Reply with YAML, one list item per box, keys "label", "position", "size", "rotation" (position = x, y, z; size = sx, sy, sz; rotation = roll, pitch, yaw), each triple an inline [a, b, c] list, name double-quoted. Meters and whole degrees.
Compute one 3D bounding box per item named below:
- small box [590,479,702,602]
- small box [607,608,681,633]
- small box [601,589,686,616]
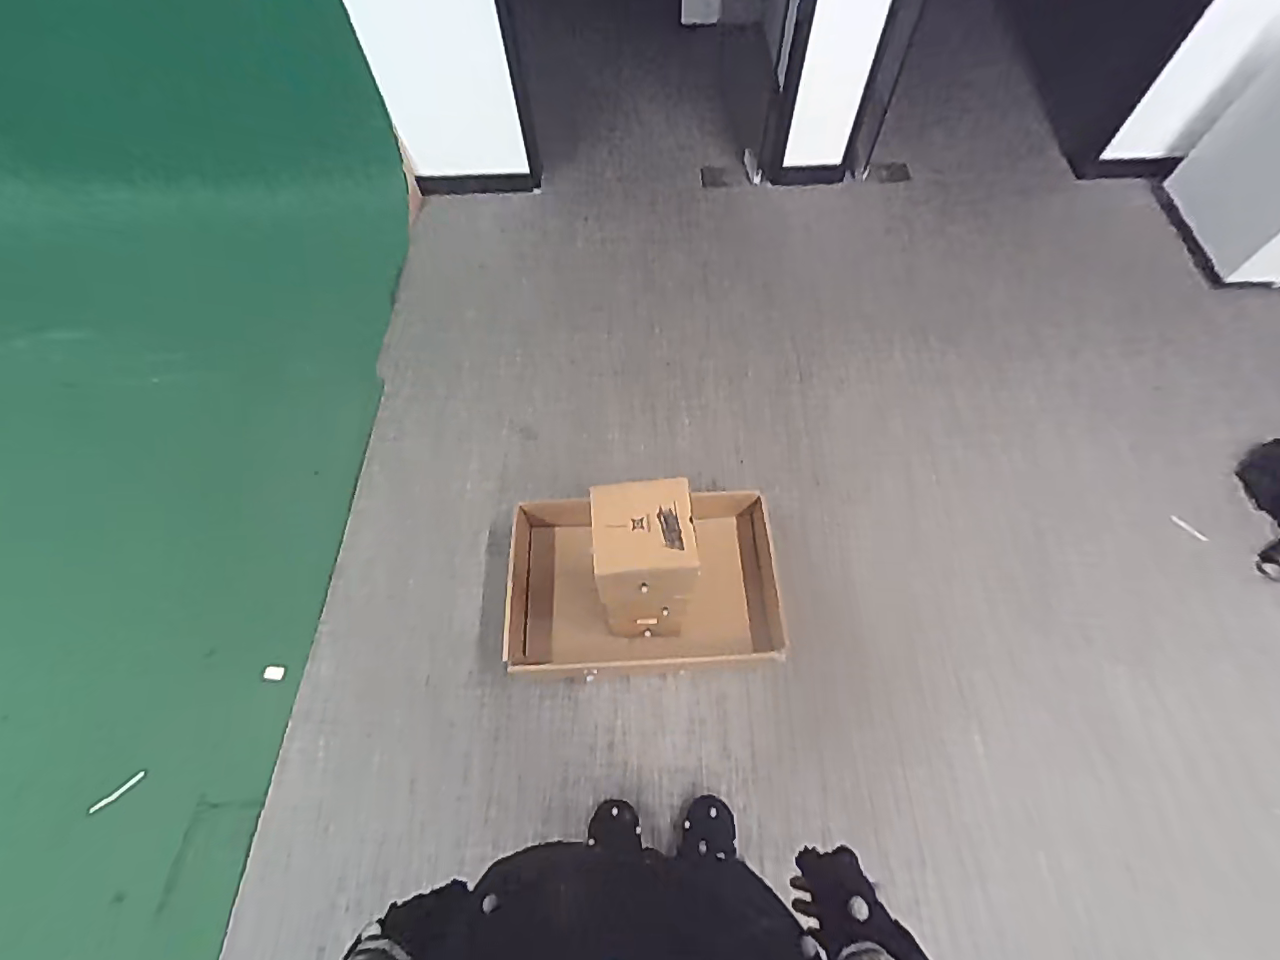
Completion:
- label: "small box"
  position: [0.007, 0.115, 0.989]
  size: [0.179, 0.176, 0.168]
  rotation: [-7, 63, -3]
- label: "small box"
  position: [0.014, 0.261, 1.281]
  size: [0.168, 0.176, 0.179]
  rotation: [0, 63, 2]
- label: "small box"
  position: [0.010, 0.184, 1.138]
  size: [0.168, 0.176, 0.179]
  rotation: [-1, 61, 1]
